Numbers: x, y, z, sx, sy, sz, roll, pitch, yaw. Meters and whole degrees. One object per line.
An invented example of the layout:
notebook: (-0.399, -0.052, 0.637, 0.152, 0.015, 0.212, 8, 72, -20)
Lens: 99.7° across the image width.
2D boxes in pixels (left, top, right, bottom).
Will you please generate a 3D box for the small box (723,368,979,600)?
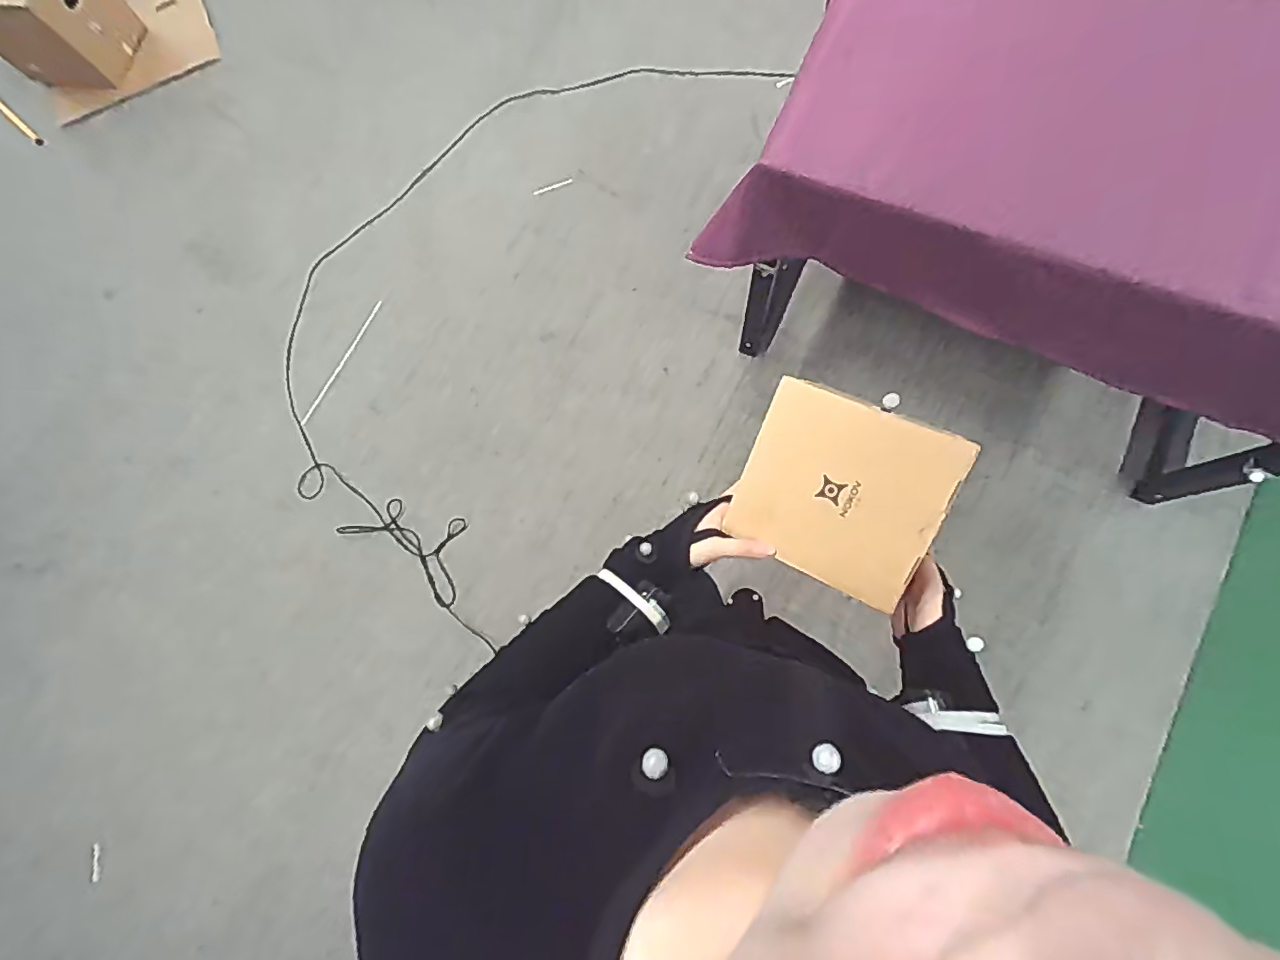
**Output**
small box: (0.216, -0.005, 0.568, 0.179, 0.176, 0.168, 26, 107, 20)
